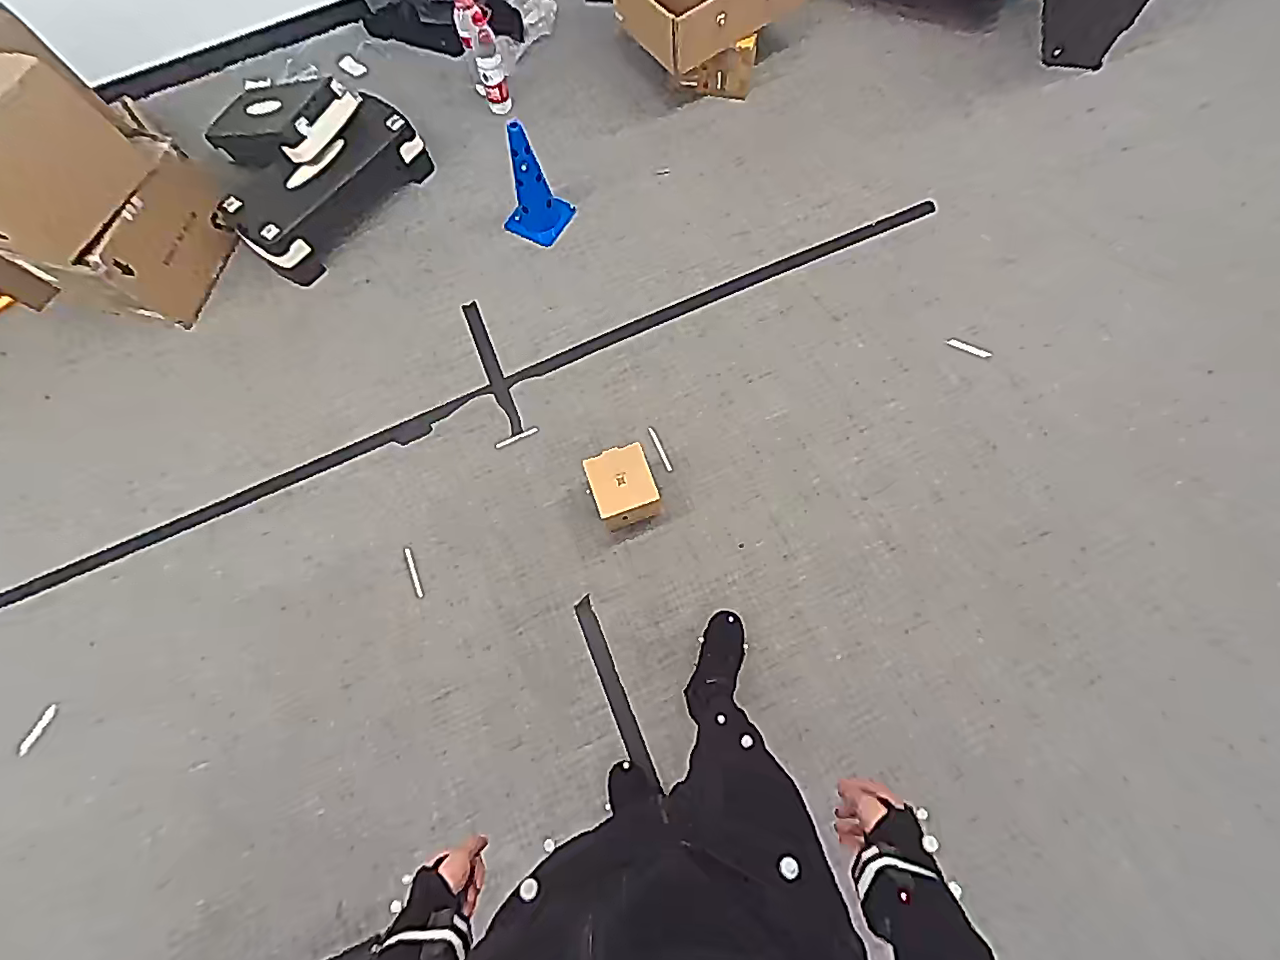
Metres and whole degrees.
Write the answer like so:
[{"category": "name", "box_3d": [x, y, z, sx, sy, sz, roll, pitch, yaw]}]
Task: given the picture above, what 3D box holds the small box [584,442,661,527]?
[{"category": "small box", "box_3d": [-0.043, 0.022, 1.517, 0.168, 0.176, 0.179, -19, 72, -3]}]
